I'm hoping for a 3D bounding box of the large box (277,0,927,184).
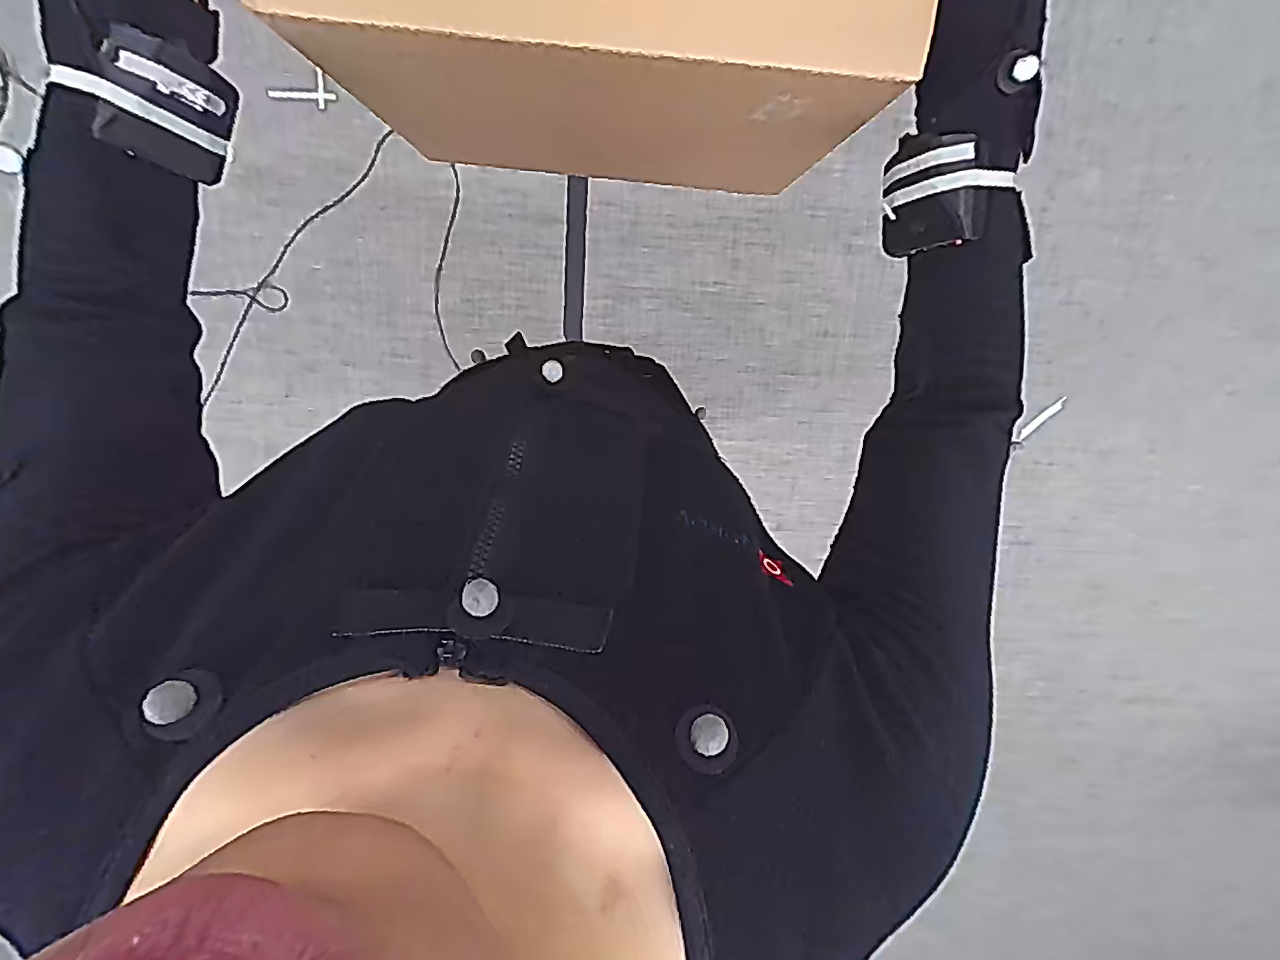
[{"bbox_3d":[-0.020,-0.457,0.436,0.408,0.320,0.320,3,107,-4],"label":"large box"}]
